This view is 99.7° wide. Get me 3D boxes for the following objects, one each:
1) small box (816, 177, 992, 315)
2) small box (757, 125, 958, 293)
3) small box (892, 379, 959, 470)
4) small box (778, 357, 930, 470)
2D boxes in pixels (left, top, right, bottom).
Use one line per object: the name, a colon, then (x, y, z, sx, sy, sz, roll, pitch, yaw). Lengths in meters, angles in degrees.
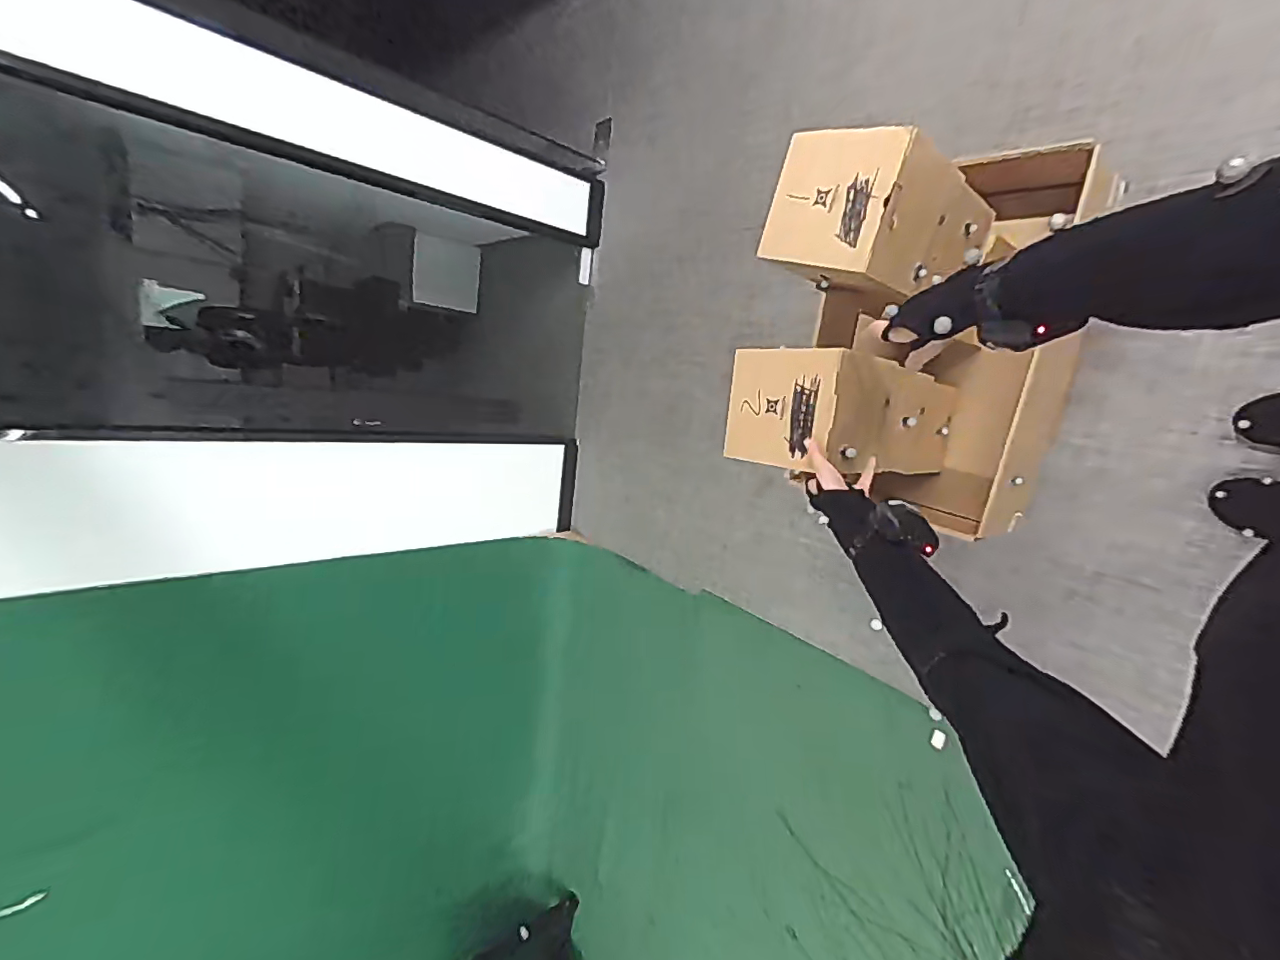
small box: (0.420, -0.367, 0.860, 0.179, 0.176, 0.168, 29, 112, 44)
small box: (0.301, -0.366, 0.748, 0.179, 0.176, 0.168, 33, 115, 43)
small box: (0.480, -0.114, 1.046, 0.179, 0.176, 0.168, 17, 105, 47)
small box: (0.368, -0.115, 0.926, 0.179, 0.176, 0.168, 17, 103, 47)
